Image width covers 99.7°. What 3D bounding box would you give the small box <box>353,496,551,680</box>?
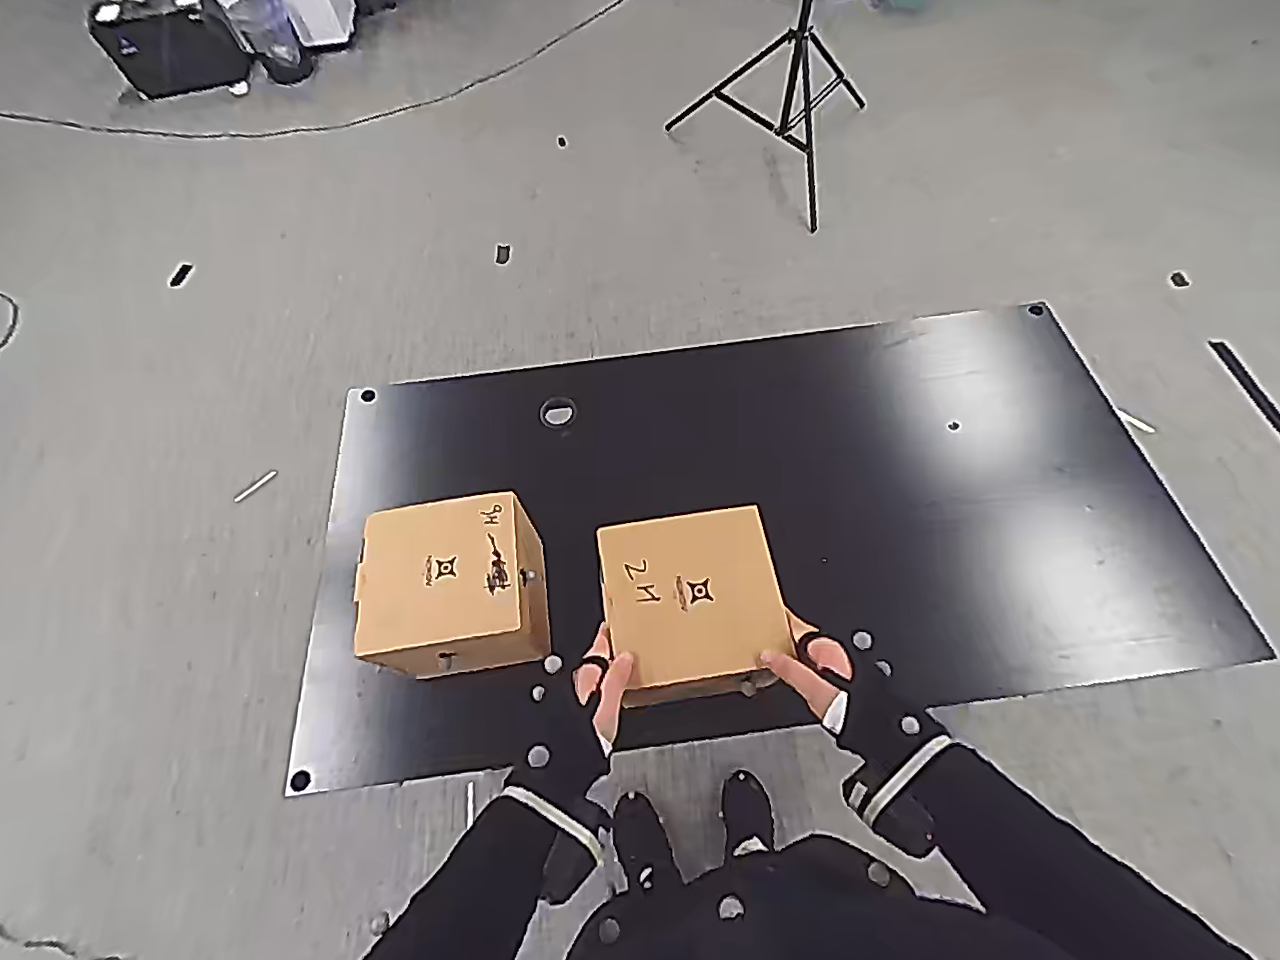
[{"bbox_3d":[-0.218,0.140,0.666,0.179,0.176,0.168,-10,62,-1],"label":"small box"}]

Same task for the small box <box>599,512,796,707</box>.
[{"bbox_3d":[0.054,0.152,0.608,0.179,0.176,0.168,-8,62,-2],"label":"small box"}]
